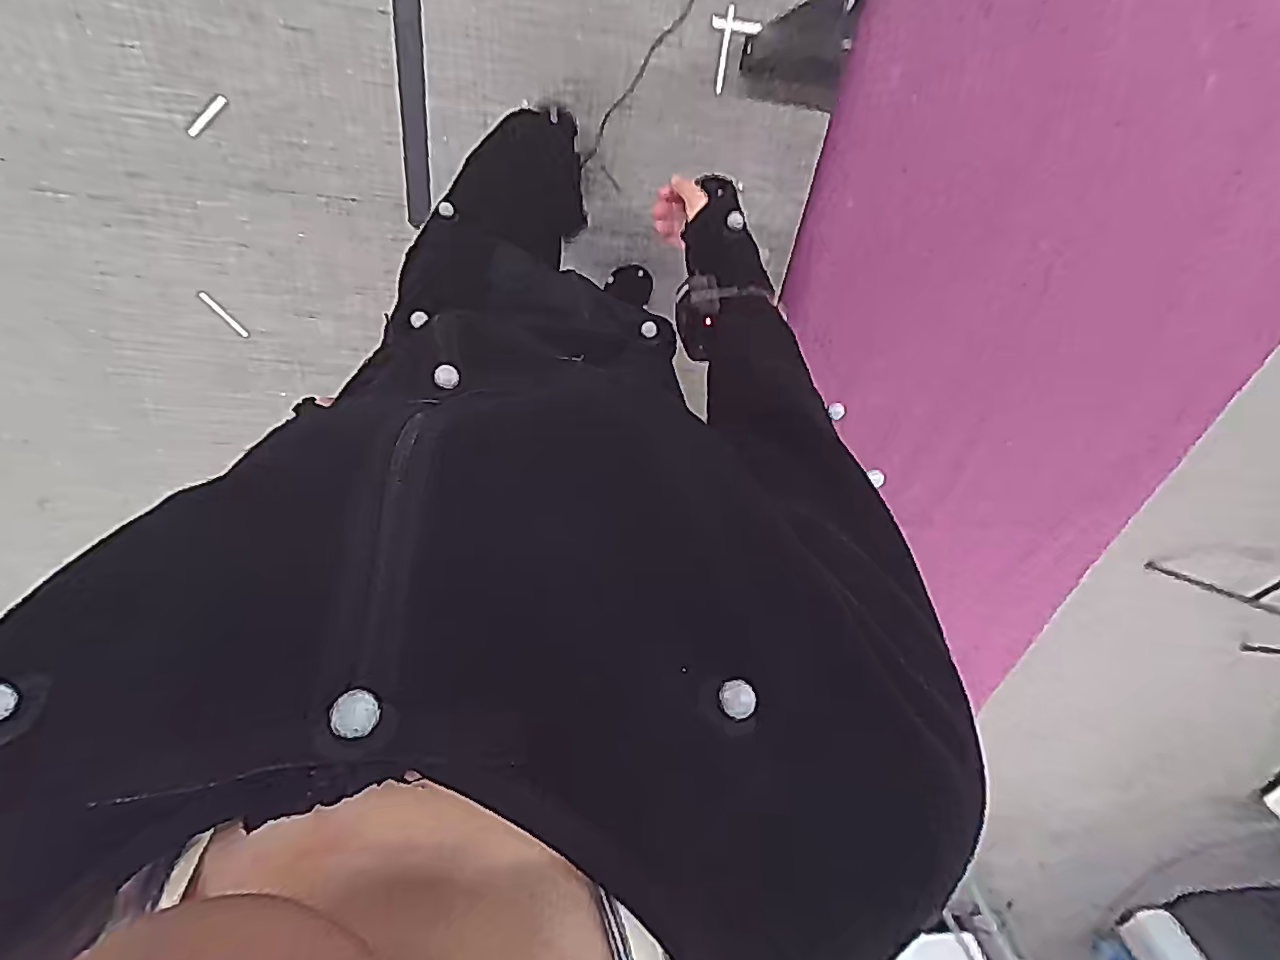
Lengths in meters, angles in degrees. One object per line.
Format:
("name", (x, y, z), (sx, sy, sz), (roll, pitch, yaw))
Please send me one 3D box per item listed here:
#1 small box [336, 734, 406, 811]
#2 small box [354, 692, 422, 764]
("small box", (-0.880, 0.959, 1.779), (0.168, 0.176, 0.179), (7, 121, -10))
("small box", (-0.893, 0.879, 1.922), (0.179, 0.176, 0.168), (9, 120, -10))
